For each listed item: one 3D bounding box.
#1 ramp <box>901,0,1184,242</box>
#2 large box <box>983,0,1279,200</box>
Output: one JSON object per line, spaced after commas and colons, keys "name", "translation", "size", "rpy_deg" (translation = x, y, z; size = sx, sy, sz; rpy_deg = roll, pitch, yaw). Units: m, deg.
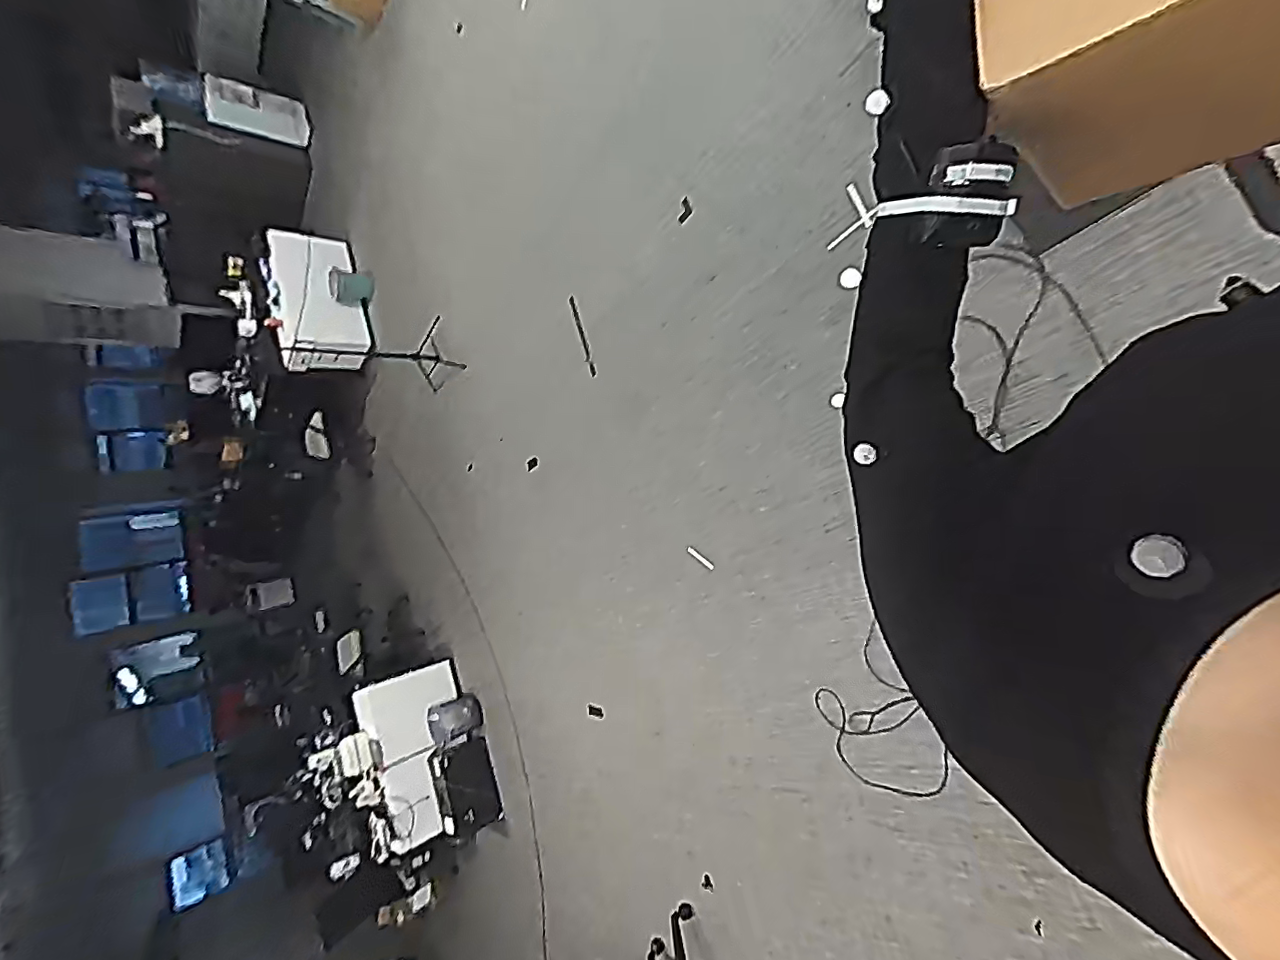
{"name": "ramp", "translation": [0.832, -1.054, 1.073], "size": [0.509, 0.206, 0.991], "rpy_deg": [-33, 72, 44]}
{"name": "large box", "translation": [0.460, -0.437, 0.320], "size": [0.408, 0.320, 0.320], "rpy_deg": [-3, 93, 46]}
